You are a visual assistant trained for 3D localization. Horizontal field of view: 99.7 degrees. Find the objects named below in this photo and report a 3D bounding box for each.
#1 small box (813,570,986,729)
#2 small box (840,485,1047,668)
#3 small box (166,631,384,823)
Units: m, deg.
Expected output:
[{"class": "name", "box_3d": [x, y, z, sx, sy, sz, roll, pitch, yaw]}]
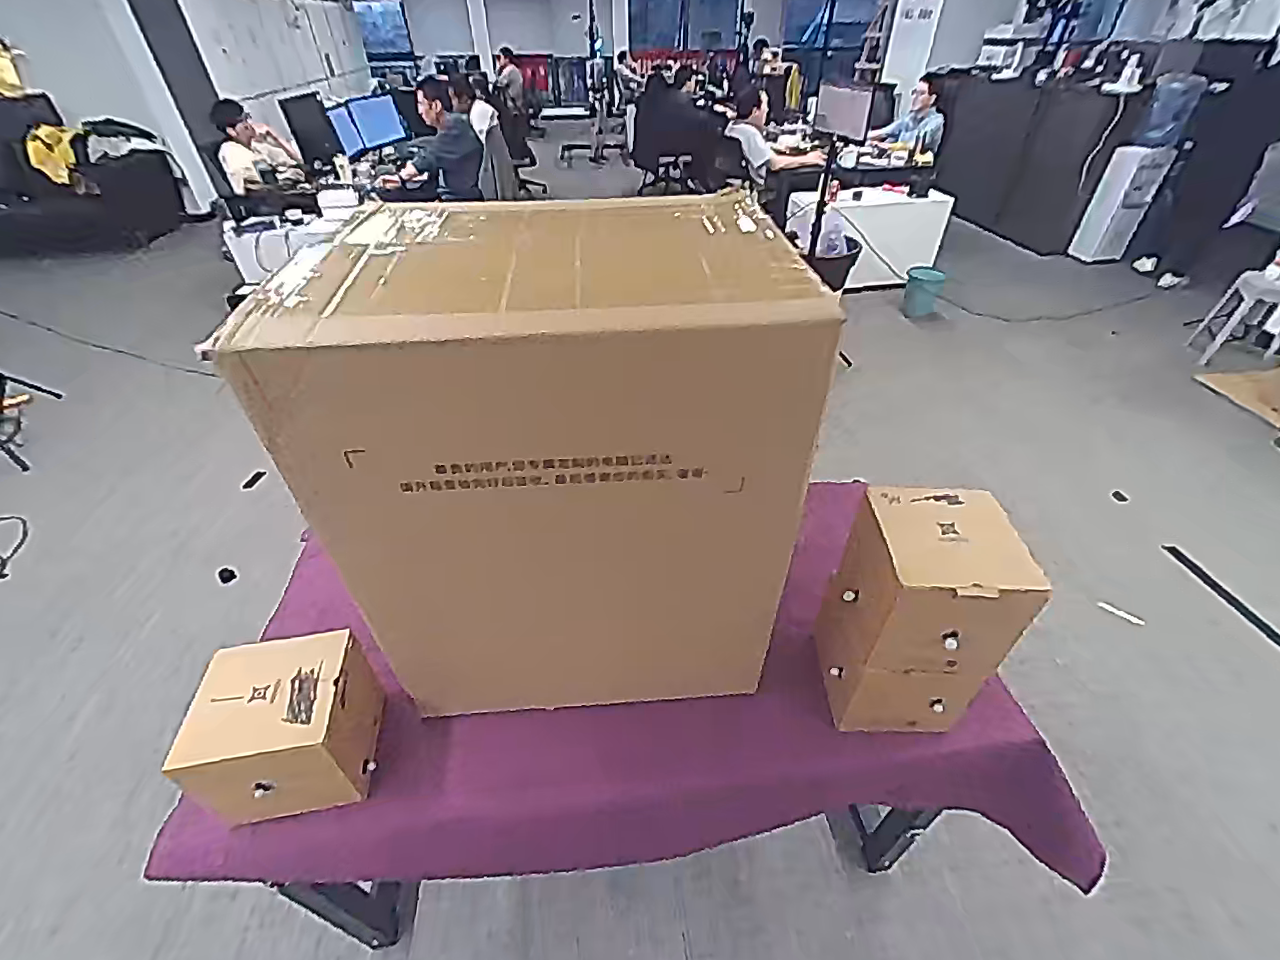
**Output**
[{"class": "small box", "box_3d": [0.374, 0.257, 0.818, 0.168, 0.176, 0.179, 0, 38, 1]}, {"class": "small box", "box_3d": [0.379, 0.128, 0.716, 0.168, 0.176, 0.179, 3, 40, 4]}, {"class": "small box", "box_3d": [-0.469, 0.334, 0.736, 0.179, 0.176, 0.168, -7, 39, -9]}]
